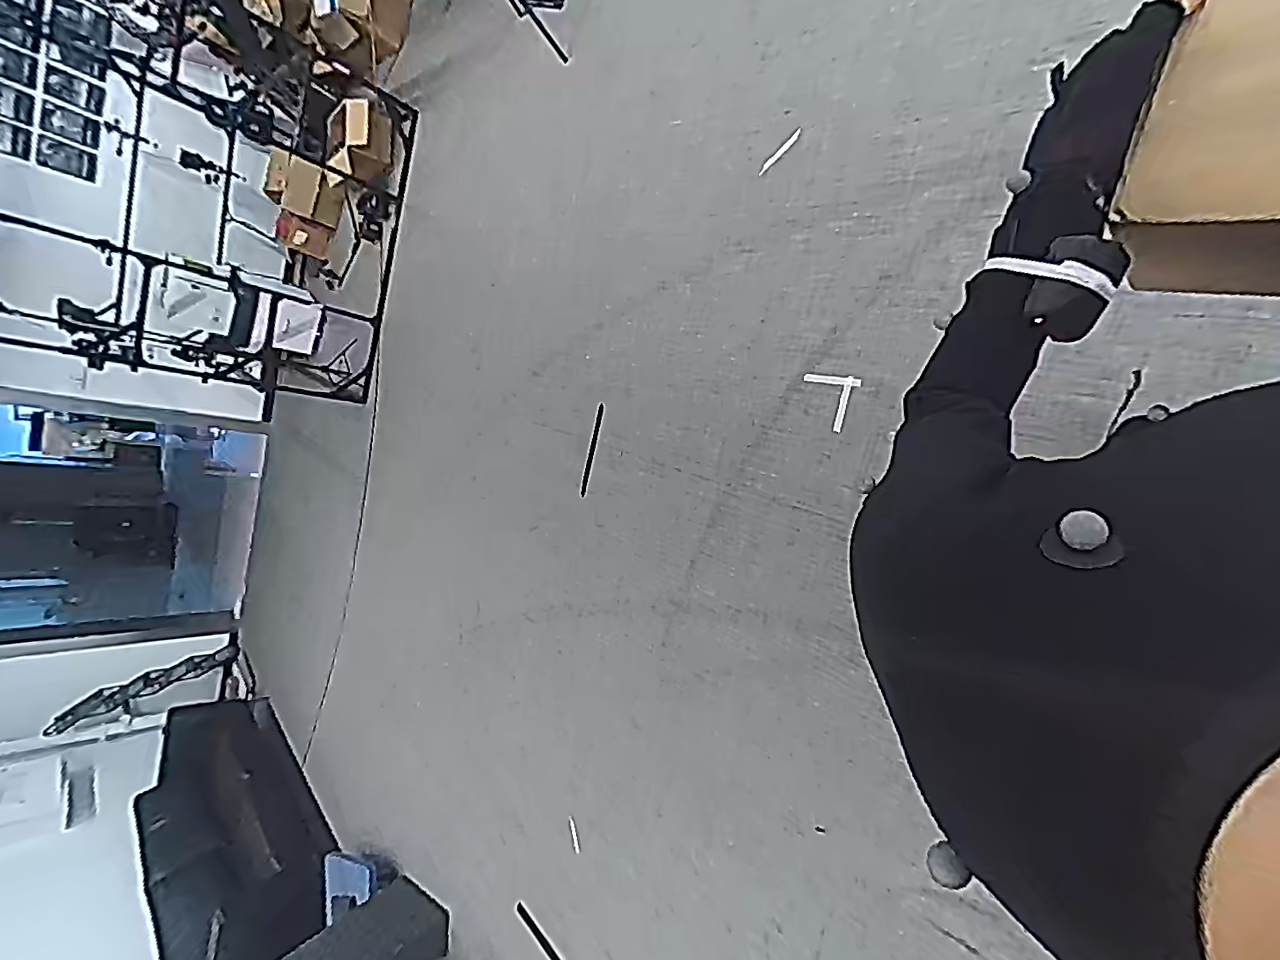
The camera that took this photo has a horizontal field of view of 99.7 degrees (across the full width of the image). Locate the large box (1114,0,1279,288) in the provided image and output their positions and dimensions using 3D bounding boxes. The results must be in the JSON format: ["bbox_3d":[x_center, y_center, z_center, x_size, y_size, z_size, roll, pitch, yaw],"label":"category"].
[{"bbox_3d":[0.621,-0.308,0.355,0.408,0.320,0.320,21,111,41],"label":"large box"}]
